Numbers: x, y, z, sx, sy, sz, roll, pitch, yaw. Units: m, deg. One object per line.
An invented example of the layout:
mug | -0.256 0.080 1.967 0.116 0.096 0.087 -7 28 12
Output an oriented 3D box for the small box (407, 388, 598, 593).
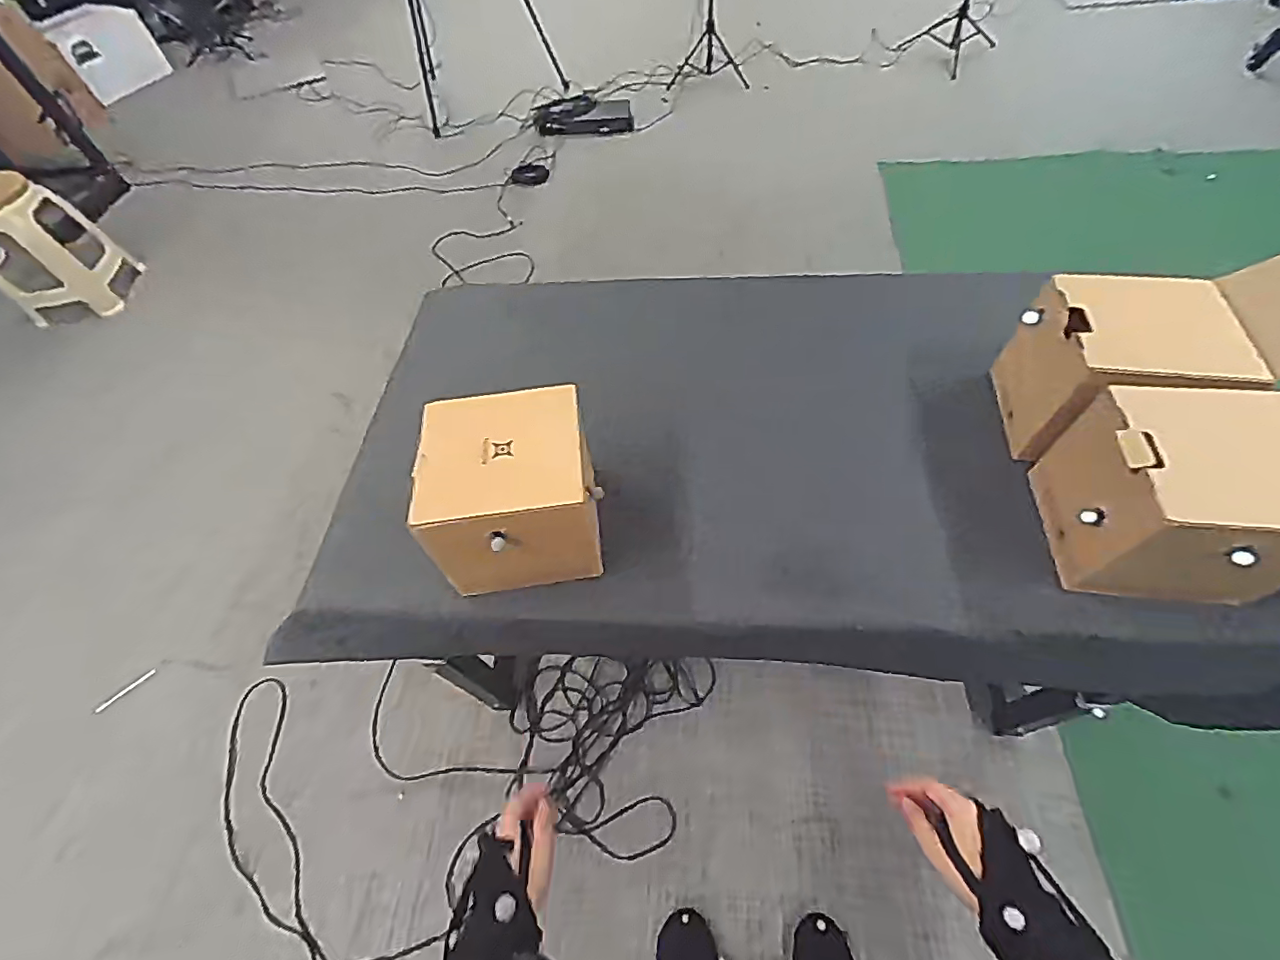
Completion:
small box | -0.145 0.018 0.636 0.179 0.176 0.168 -8 55 0
